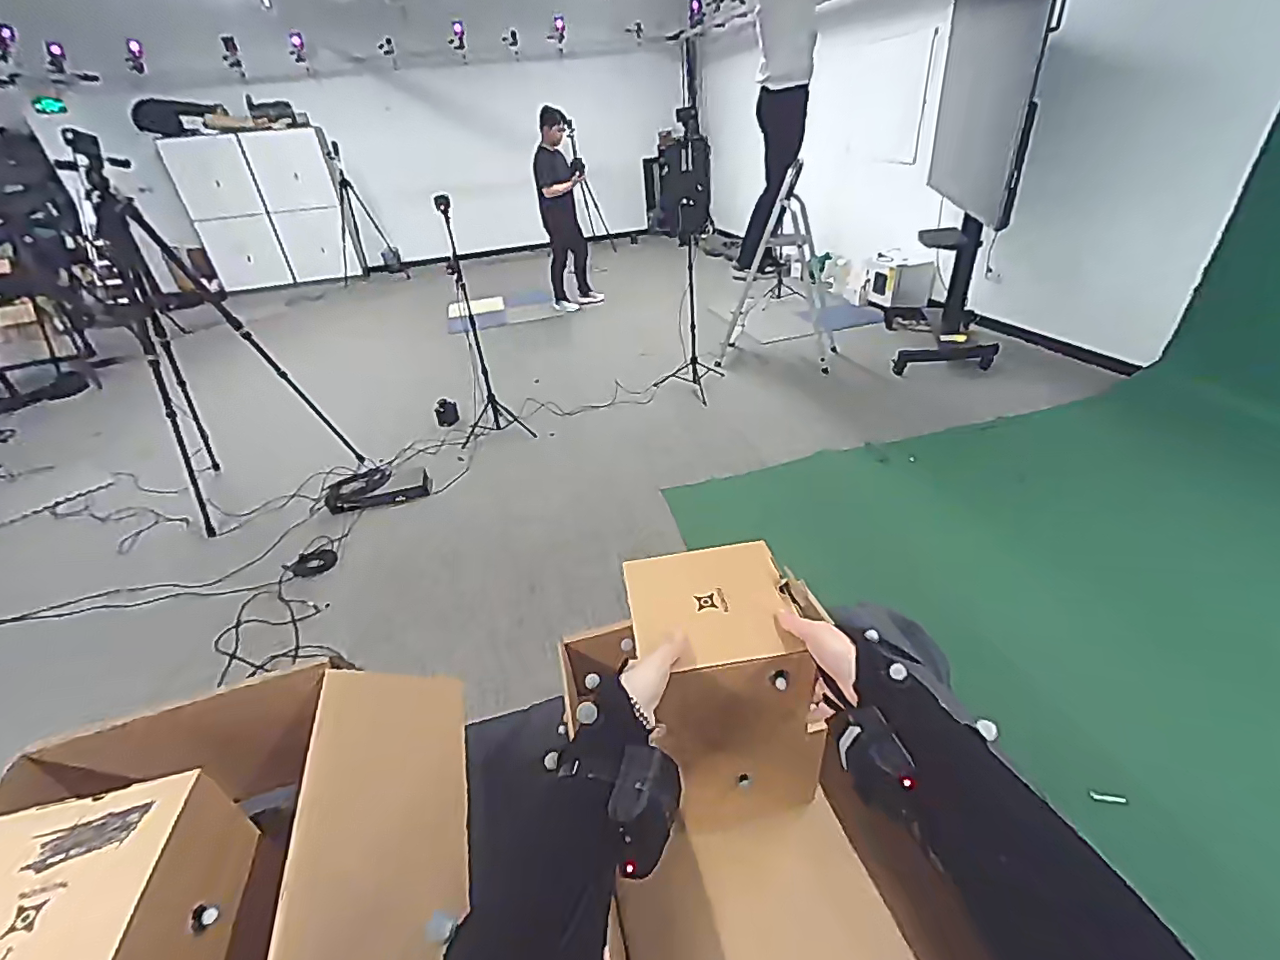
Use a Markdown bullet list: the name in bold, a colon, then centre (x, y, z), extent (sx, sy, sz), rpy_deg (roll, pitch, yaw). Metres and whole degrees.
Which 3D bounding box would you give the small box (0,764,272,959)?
- **small box**: centre (-0.454, 0.386, 0.462), extent (0.168, 0.176, 0.179), rpy_deg (-10, 36, -9)

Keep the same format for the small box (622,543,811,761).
- **small box**: centre (0.081, 0.199, 0.630), extent (0.179, 0.176, 0.168), rpy_deg (-8, 34, -4)
